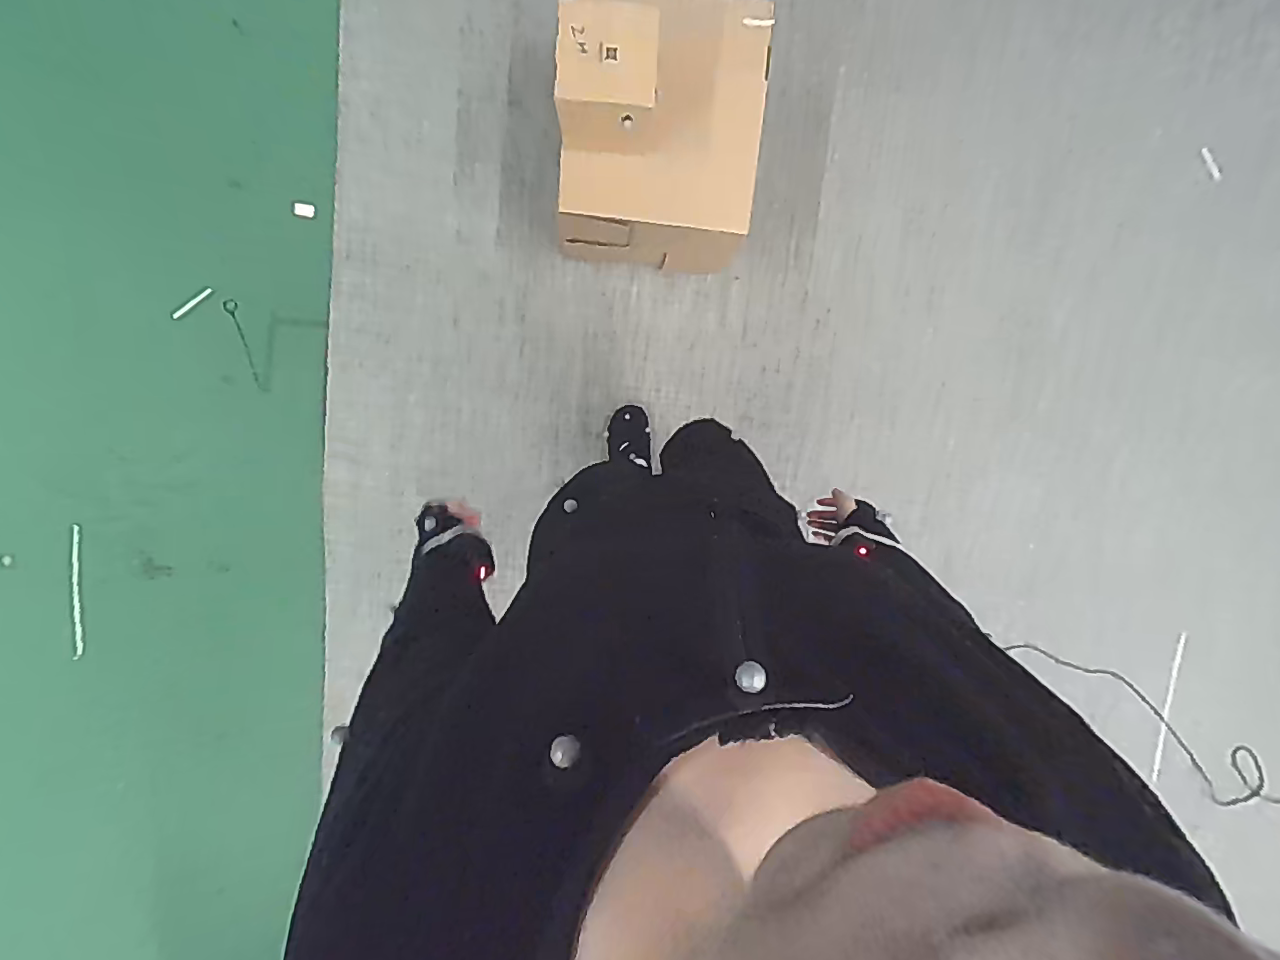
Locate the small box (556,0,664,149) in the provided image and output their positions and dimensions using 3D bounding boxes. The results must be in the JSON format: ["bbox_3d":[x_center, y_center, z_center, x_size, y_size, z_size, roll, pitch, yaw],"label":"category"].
[{"bbox_3d":[-0.055,-0.743,1.001,0.179,0.176,0.168,4,95,-2],"label":"small box"}]
